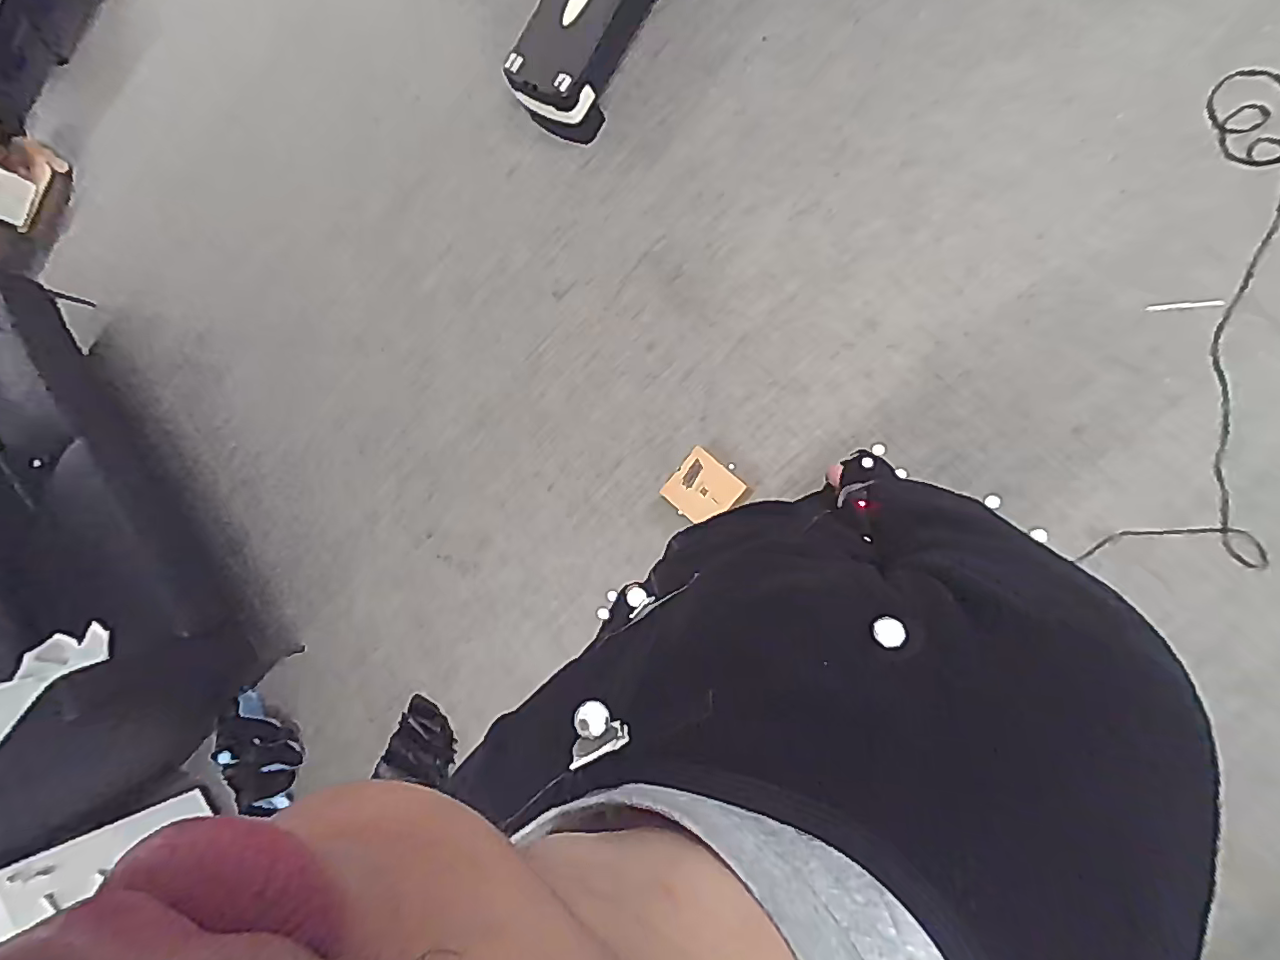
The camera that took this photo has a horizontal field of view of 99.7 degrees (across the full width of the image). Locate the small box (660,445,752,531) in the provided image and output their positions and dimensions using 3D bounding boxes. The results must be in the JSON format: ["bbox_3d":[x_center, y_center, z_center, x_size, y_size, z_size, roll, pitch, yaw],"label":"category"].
[{"bbox_3d":[0.188,0.027,1.503,0.179,0.176,0.168,42,100,16],"label":"small box"}]
